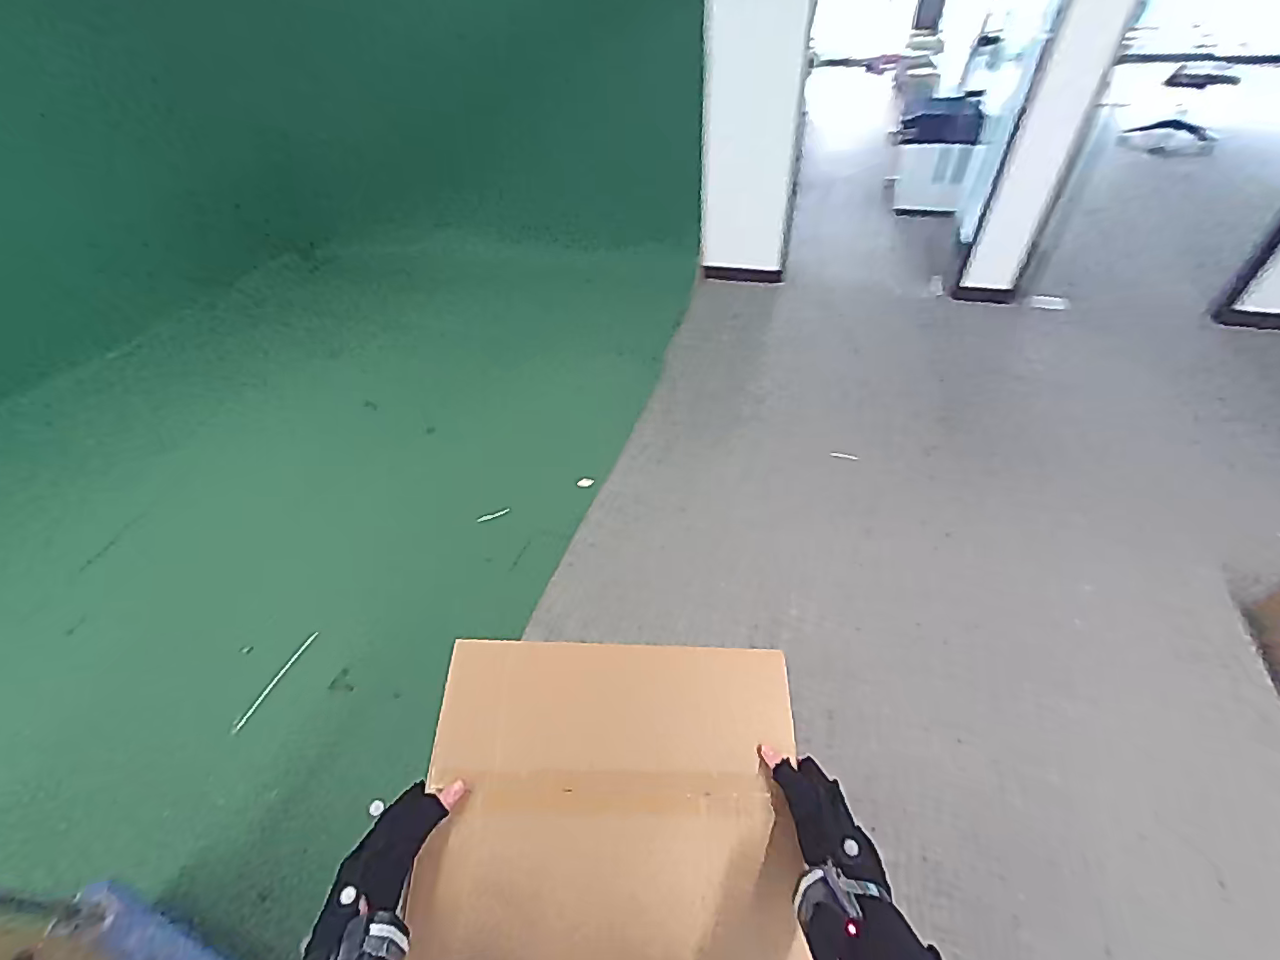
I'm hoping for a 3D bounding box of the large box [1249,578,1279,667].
[{"bbox_3d":[1.875,0.421,1.335,0.320,0.320,0.408,12,46,16],"label":"large box"}]
